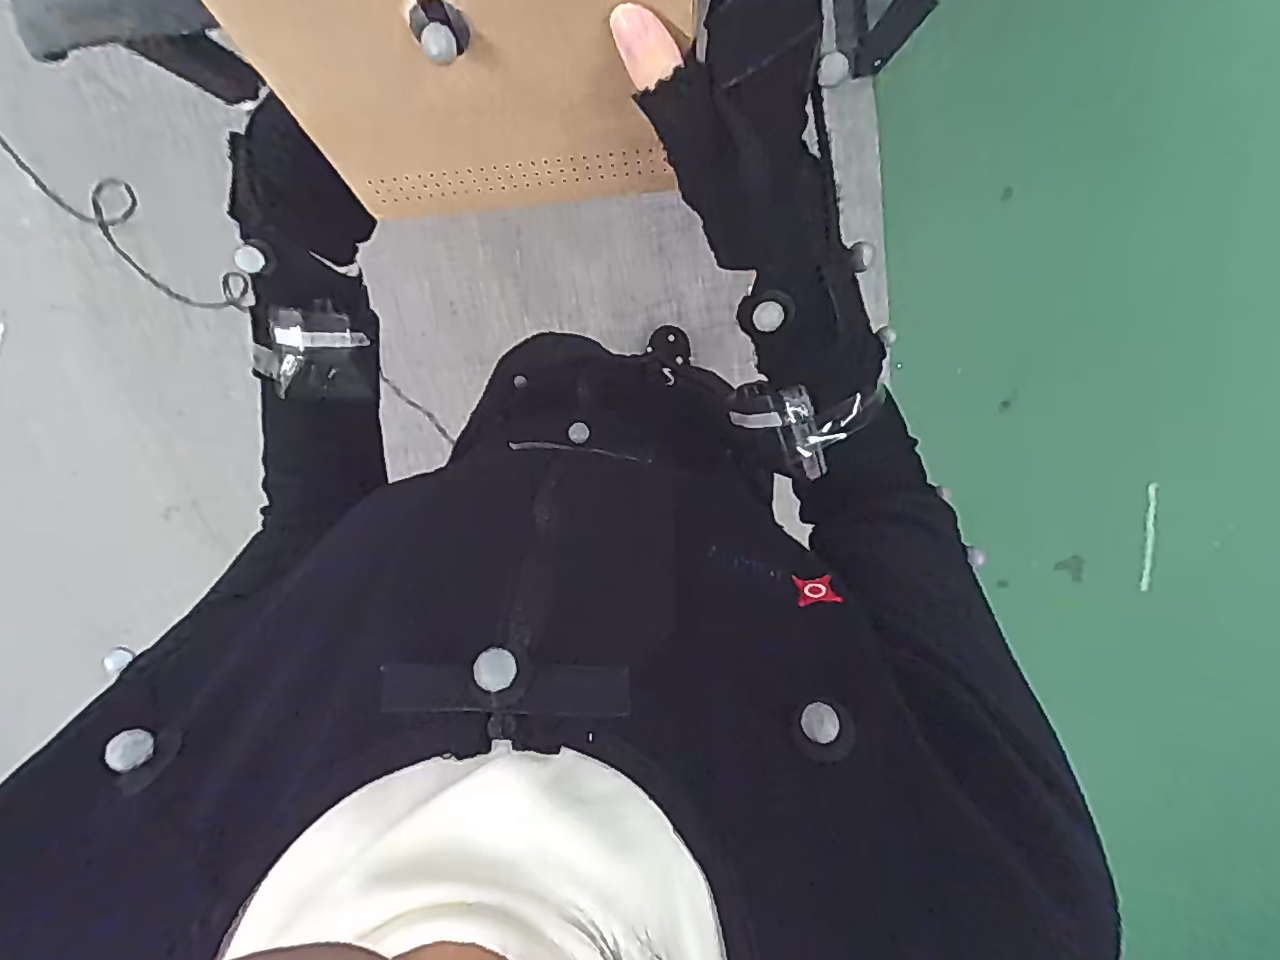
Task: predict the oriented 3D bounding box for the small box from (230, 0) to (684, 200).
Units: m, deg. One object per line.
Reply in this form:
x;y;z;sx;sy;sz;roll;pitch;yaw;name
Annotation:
-0.071;-0.257;0.240;0.179;0.176;0.168;-5;75;4;small box
